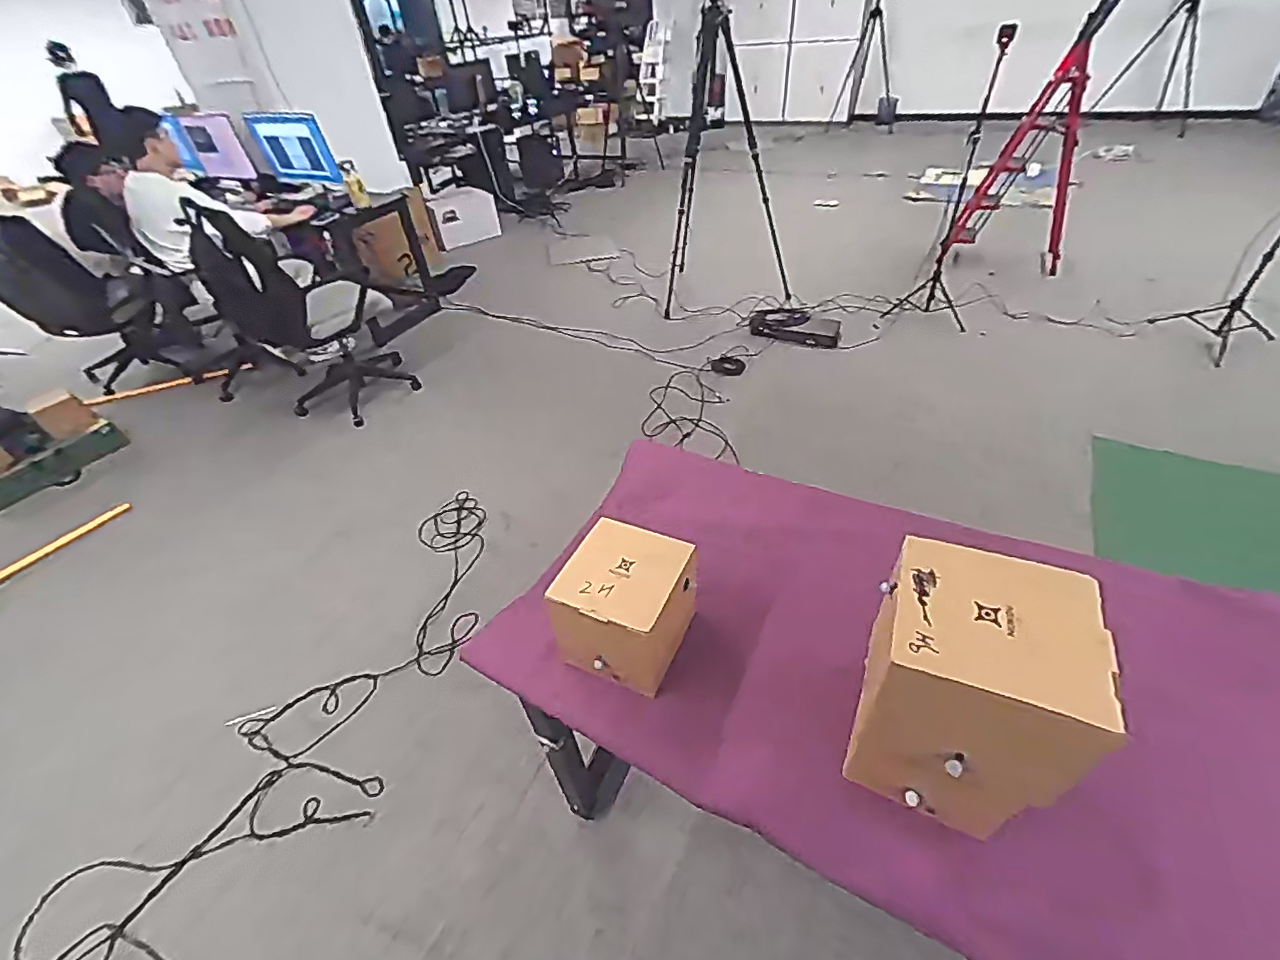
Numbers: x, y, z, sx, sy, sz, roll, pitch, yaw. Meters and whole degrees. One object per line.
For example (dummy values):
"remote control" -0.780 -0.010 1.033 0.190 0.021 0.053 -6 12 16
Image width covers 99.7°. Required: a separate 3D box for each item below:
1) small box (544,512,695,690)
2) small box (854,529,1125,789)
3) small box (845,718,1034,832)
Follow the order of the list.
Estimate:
"small box" -0.024 0.183 0.833 0.168 0.176 0.179 15 44 22
"small box" 0.335 0.182 0.551 0.179 0.176 0.168 14 45 21
"small box" 0.367 0.290 0.674 0.168 0.176 0.179 17 46 24
